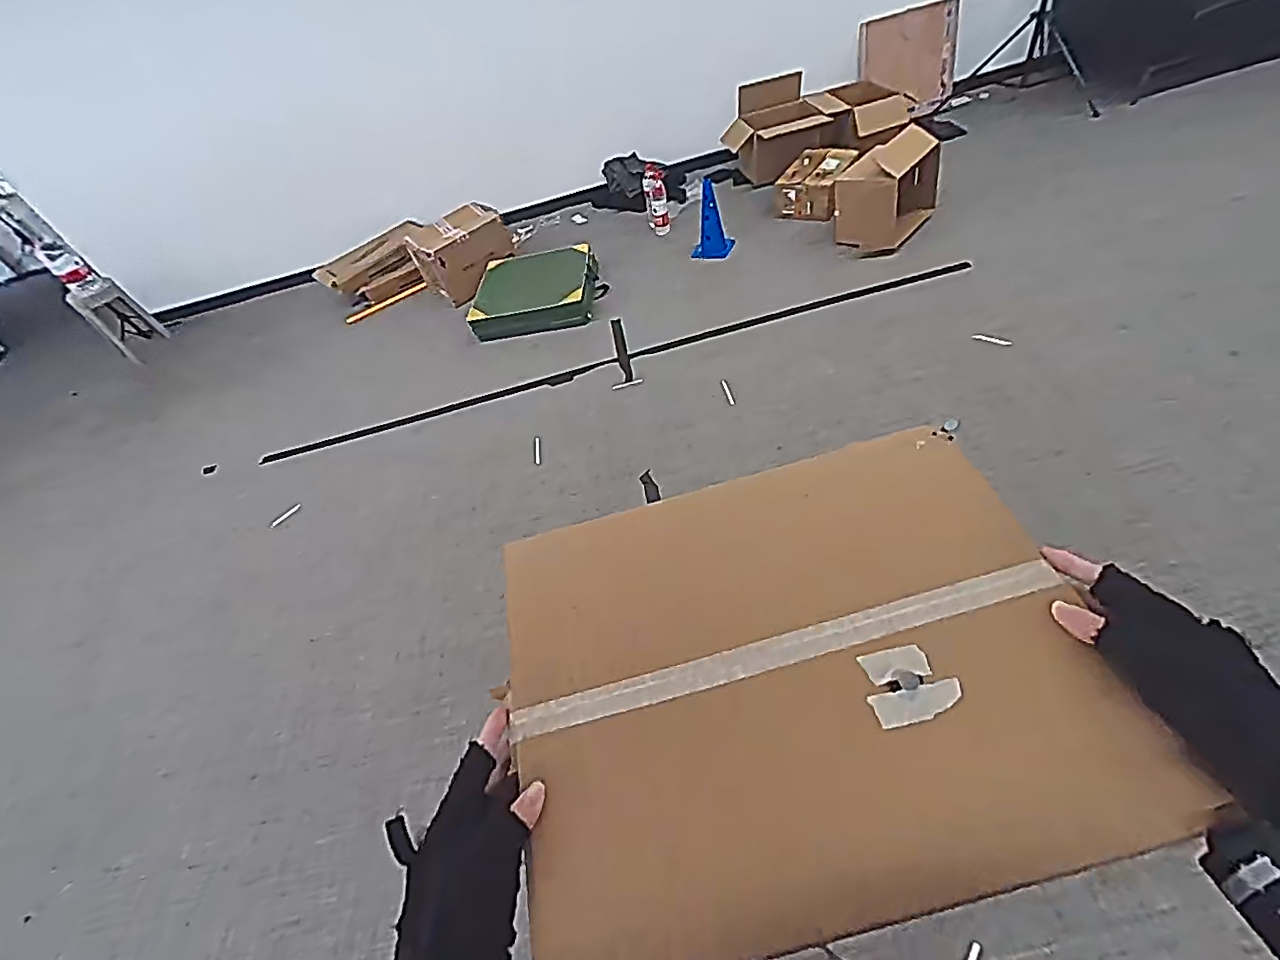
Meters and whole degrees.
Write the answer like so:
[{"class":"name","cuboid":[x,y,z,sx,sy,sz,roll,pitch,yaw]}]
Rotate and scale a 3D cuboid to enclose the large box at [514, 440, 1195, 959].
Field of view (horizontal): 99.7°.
[{"class":"large box","cuboid":[0.129,0.220,0.523,0.408,0.320,0.320,-16,53,-1]}]
